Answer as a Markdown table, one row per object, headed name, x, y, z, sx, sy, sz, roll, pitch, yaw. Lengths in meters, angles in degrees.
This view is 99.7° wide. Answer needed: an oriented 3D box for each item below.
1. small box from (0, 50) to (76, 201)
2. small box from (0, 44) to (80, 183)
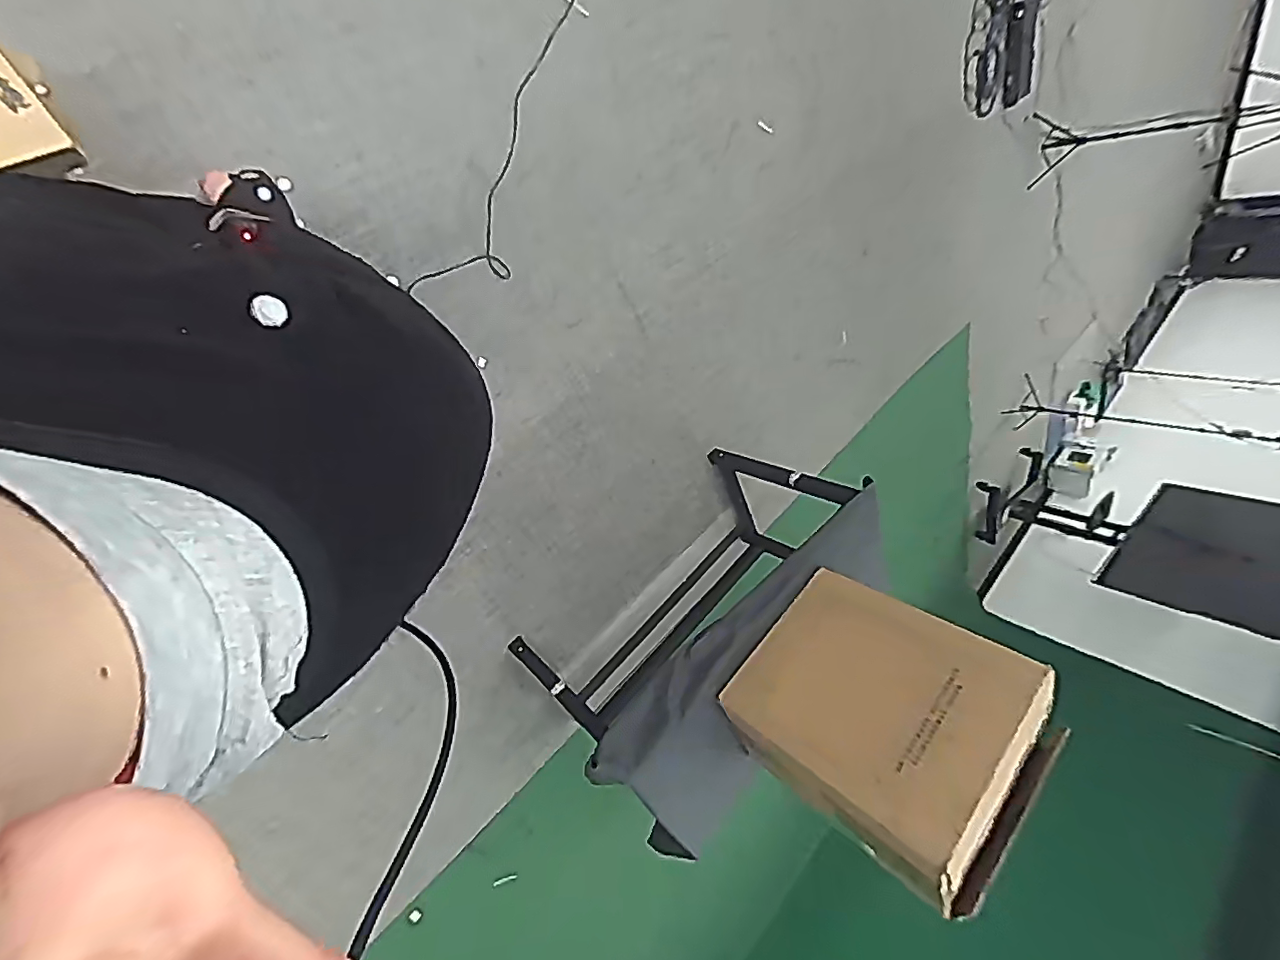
| name | x | y | z | sx | sy | sz | roll | pitch | yaw |
| --- | --- | --- | --- | --- | --- | --- | --- | --- | --- |
| small box | -0.966 | -0.520 | 0.787 | 0.168 | 0.176 | 0.179 | -11 | 115 | -37 |
| small box | -0.863 | -0.471 | 0.669 | 0.179 | 0.176 | 0.168 | -38 | 128 | -22 |
